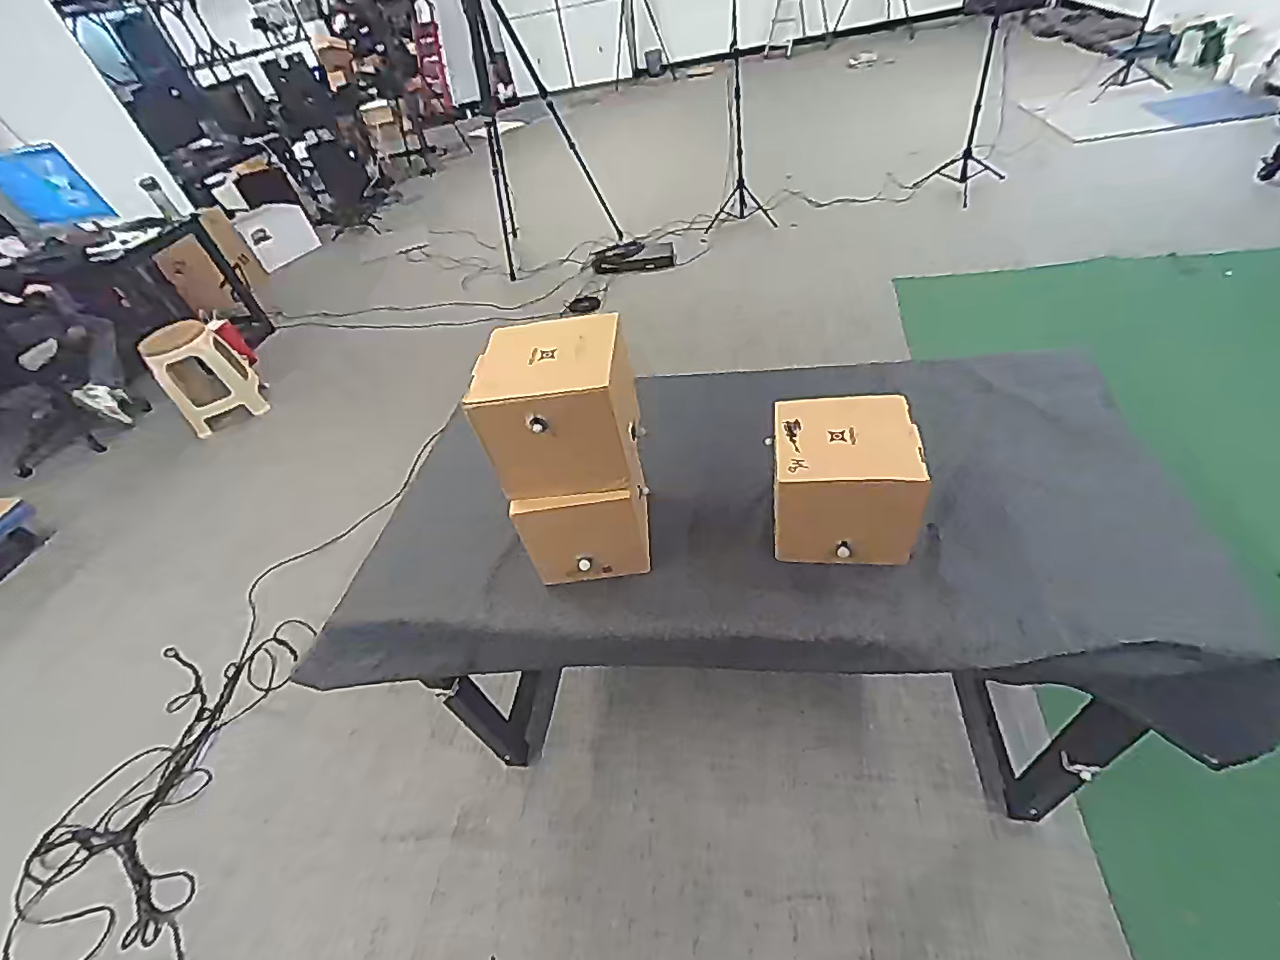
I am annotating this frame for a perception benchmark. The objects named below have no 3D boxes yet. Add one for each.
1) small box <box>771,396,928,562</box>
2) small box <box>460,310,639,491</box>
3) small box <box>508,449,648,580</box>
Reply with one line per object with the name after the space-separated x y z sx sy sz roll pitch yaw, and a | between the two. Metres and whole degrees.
0.276 0.000 0.755 0.179 0.176 0.168 0 46 13 | small box
-0.104 -0.098 0.710 0.179 0.176 0.168 -4 46 8 | small box
-0.082 0.026 0.813 0.168 0.176 0.179 -8 45 6 | small box
